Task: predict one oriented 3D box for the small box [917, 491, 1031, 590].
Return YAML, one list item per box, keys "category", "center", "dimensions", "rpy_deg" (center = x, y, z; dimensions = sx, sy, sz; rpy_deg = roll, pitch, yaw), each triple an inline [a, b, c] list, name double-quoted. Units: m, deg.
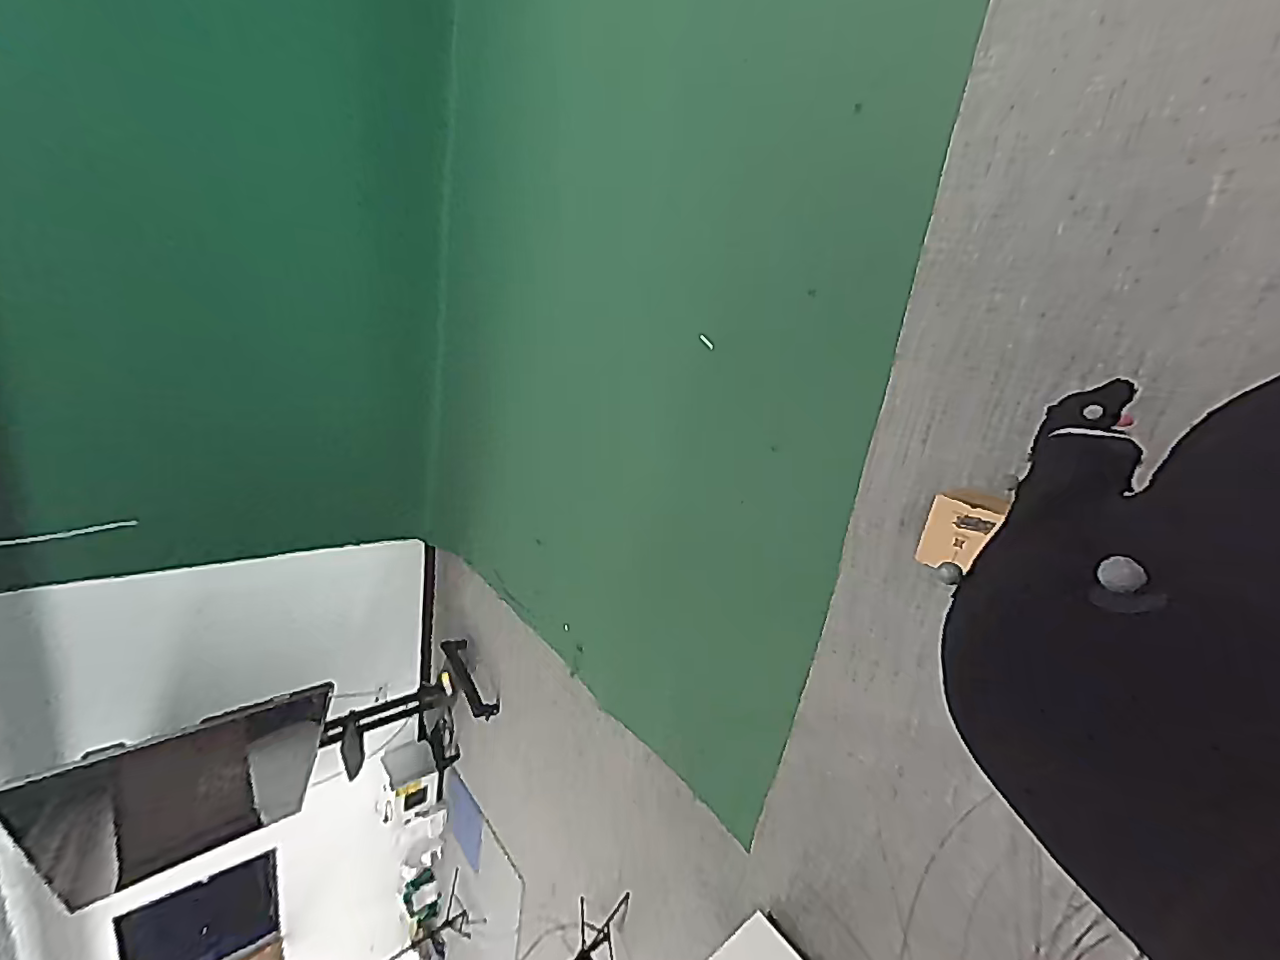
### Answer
- category: "small box"
  center: [0.797, 0.133, 1.286]
  dimensions: [0.168, 0.176, 0.179]
  rpy_deg: [27, 114, 44]
